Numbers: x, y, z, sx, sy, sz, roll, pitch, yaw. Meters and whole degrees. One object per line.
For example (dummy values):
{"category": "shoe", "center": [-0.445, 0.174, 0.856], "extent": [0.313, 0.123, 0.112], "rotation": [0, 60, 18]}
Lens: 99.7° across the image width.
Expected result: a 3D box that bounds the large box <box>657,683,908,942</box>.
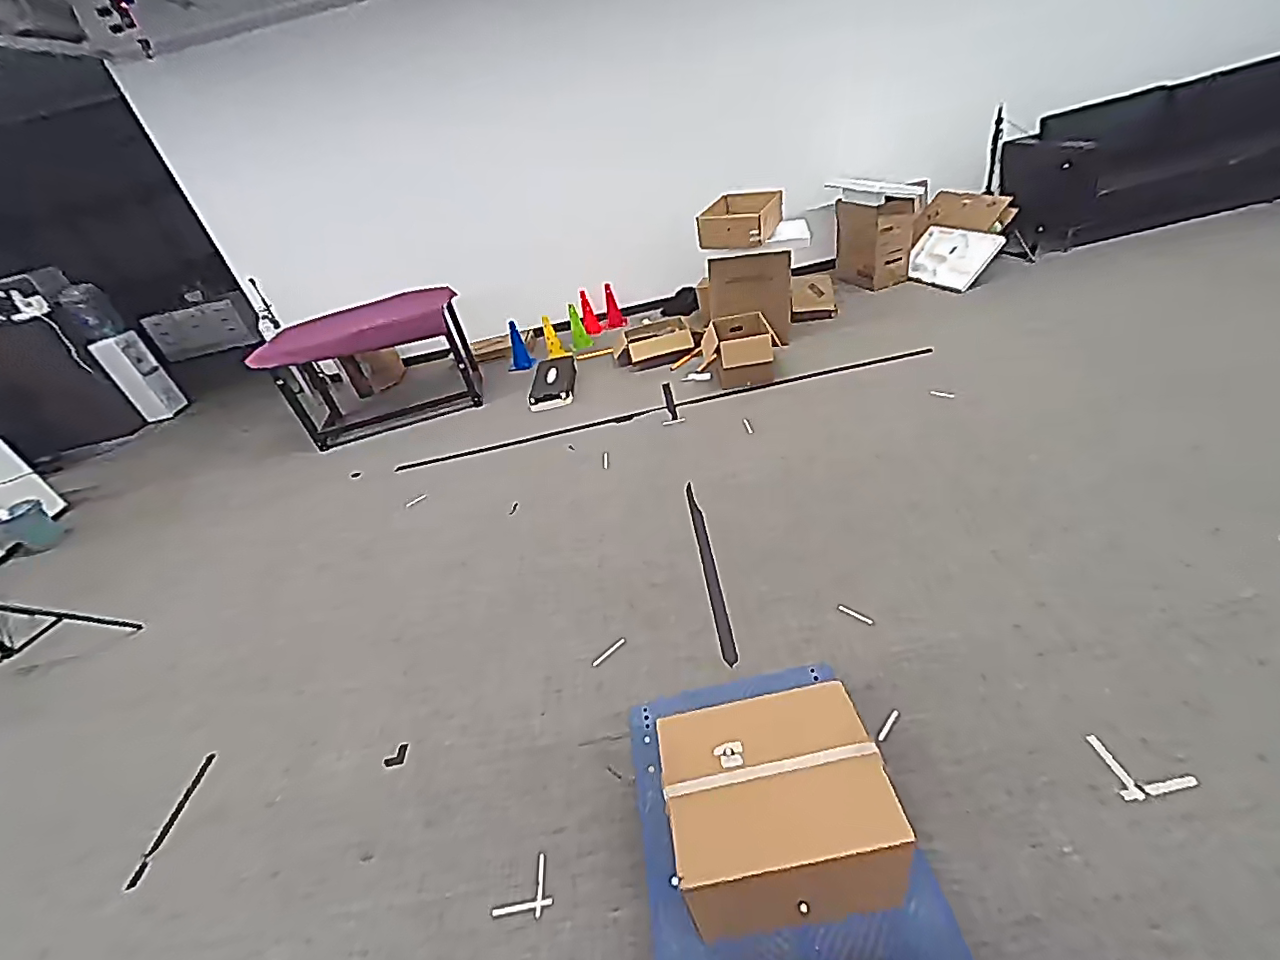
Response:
{"category": "large box", "center": [0.278, 0.683, 1.120], "extent": [0.408, 0.320, 0.320], "rotation": [-14, 33, 2]}
